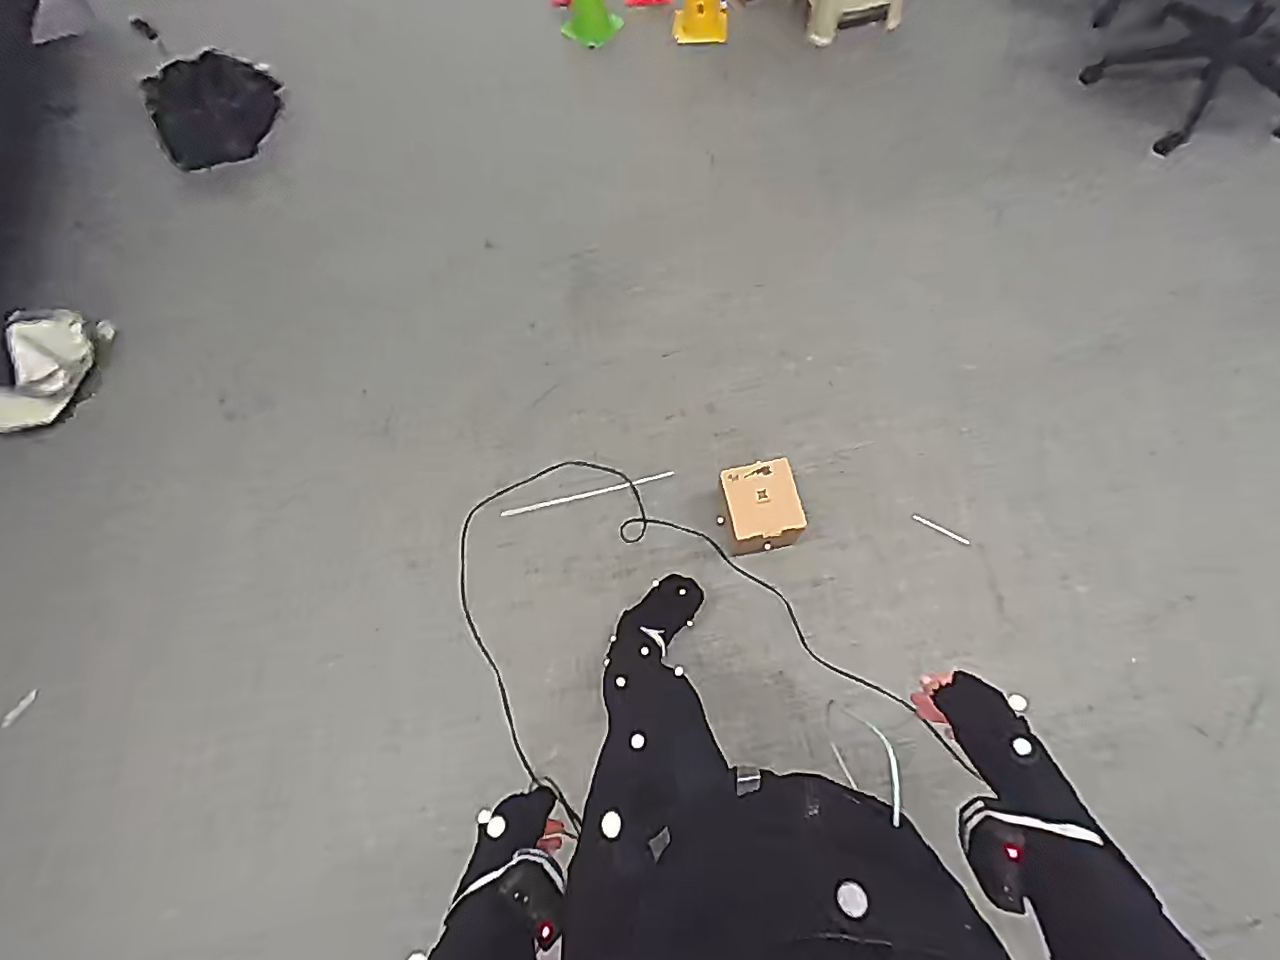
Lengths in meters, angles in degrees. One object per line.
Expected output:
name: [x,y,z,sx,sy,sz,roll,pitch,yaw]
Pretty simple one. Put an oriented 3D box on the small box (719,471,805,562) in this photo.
small box: [0.292,0.099,1.328,0.168,0.176,0.179,-11,70,2]
